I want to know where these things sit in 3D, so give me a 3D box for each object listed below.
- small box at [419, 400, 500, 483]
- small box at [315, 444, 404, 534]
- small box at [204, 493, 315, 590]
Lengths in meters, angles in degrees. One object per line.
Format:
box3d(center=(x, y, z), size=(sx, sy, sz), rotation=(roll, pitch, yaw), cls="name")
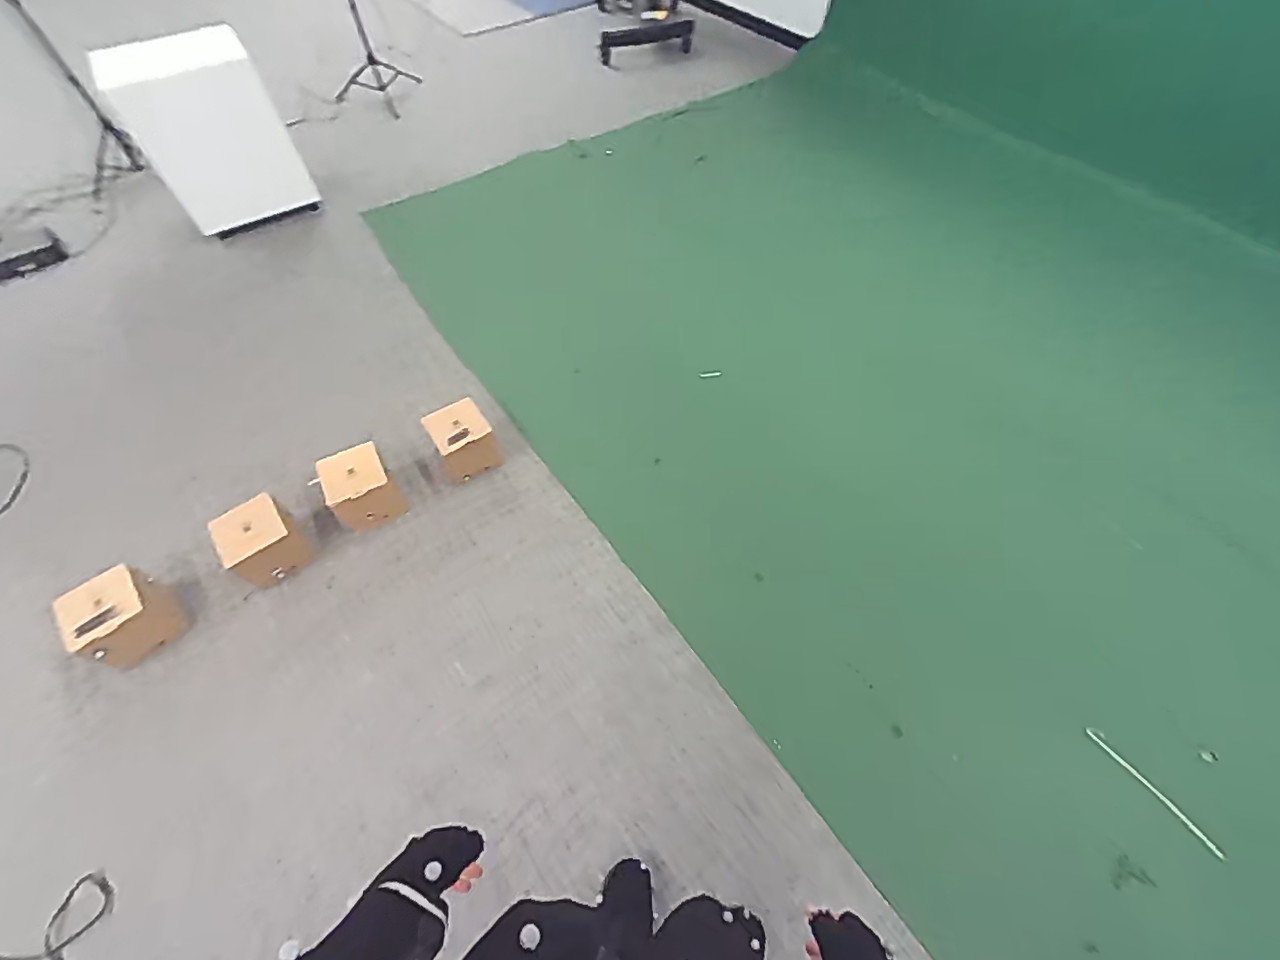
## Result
box3d(center=(-0.563, -0.112, 1.709), size=(0.168, 0.176, 0.179), rotation=(-30, 61, -19), cls="small box")
box3d(center=(-0.832, 0.029, 1.611), size=(0.168, 0.176, 0.179), rotation=(-25, 61, -17), cls="small box")
box3d(center=(-1.055, 0.176, 1.510), size=(0.168, 0.176, 0.179), rotation=(-35, 65, -19), cls="small box")
